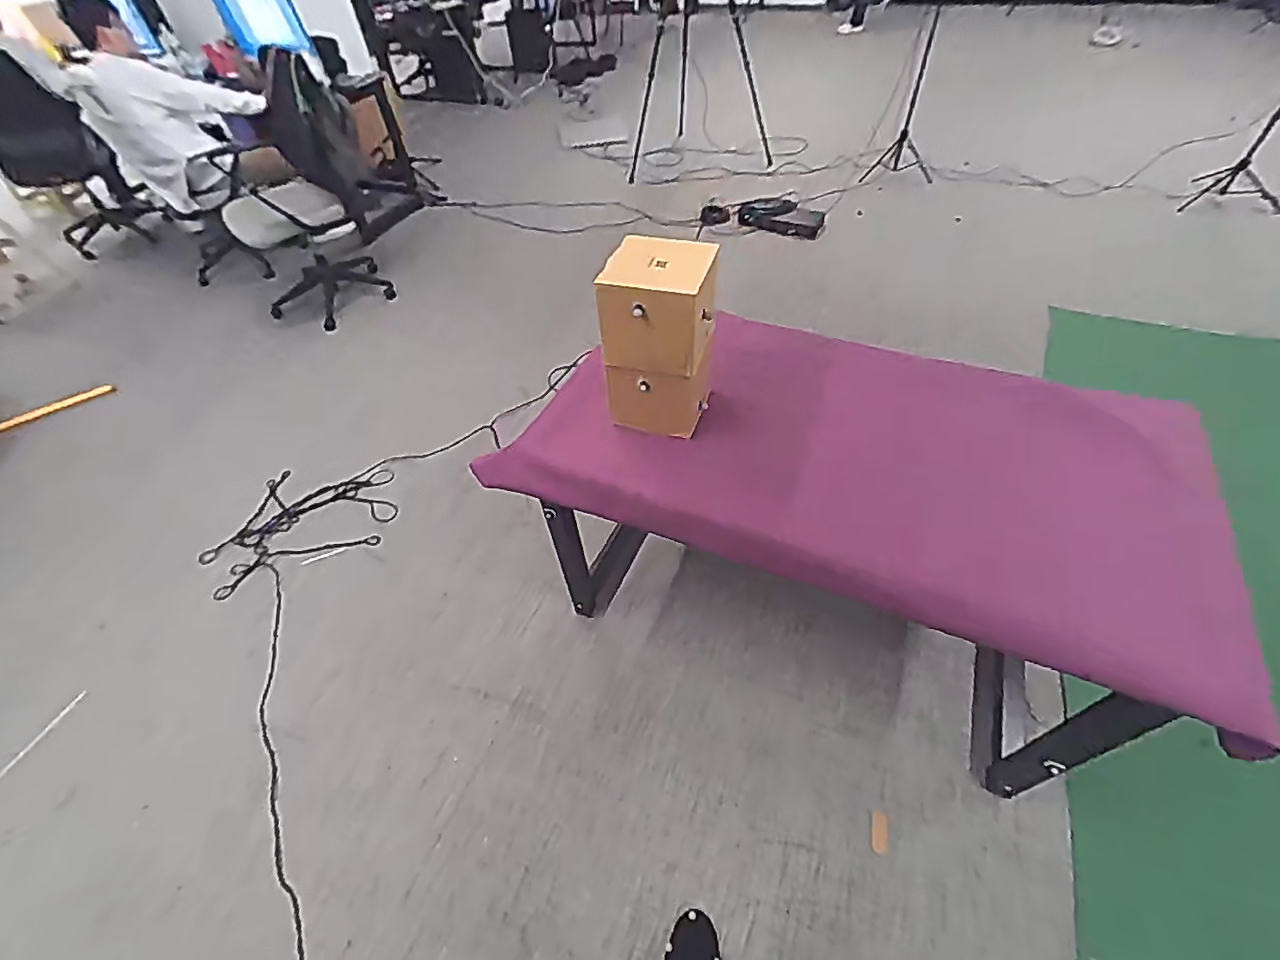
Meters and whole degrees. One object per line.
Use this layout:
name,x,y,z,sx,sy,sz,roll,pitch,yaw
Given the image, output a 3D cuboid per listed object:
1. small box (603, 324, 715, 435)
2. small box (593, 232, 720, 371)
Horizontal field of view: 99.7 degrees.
small box,0.043,-0.213,1.088,0.179,0.176,0.168,14,53,15
small box,0.036,-0.313,0.961,0.179,0.176,0.168,12,53,15
